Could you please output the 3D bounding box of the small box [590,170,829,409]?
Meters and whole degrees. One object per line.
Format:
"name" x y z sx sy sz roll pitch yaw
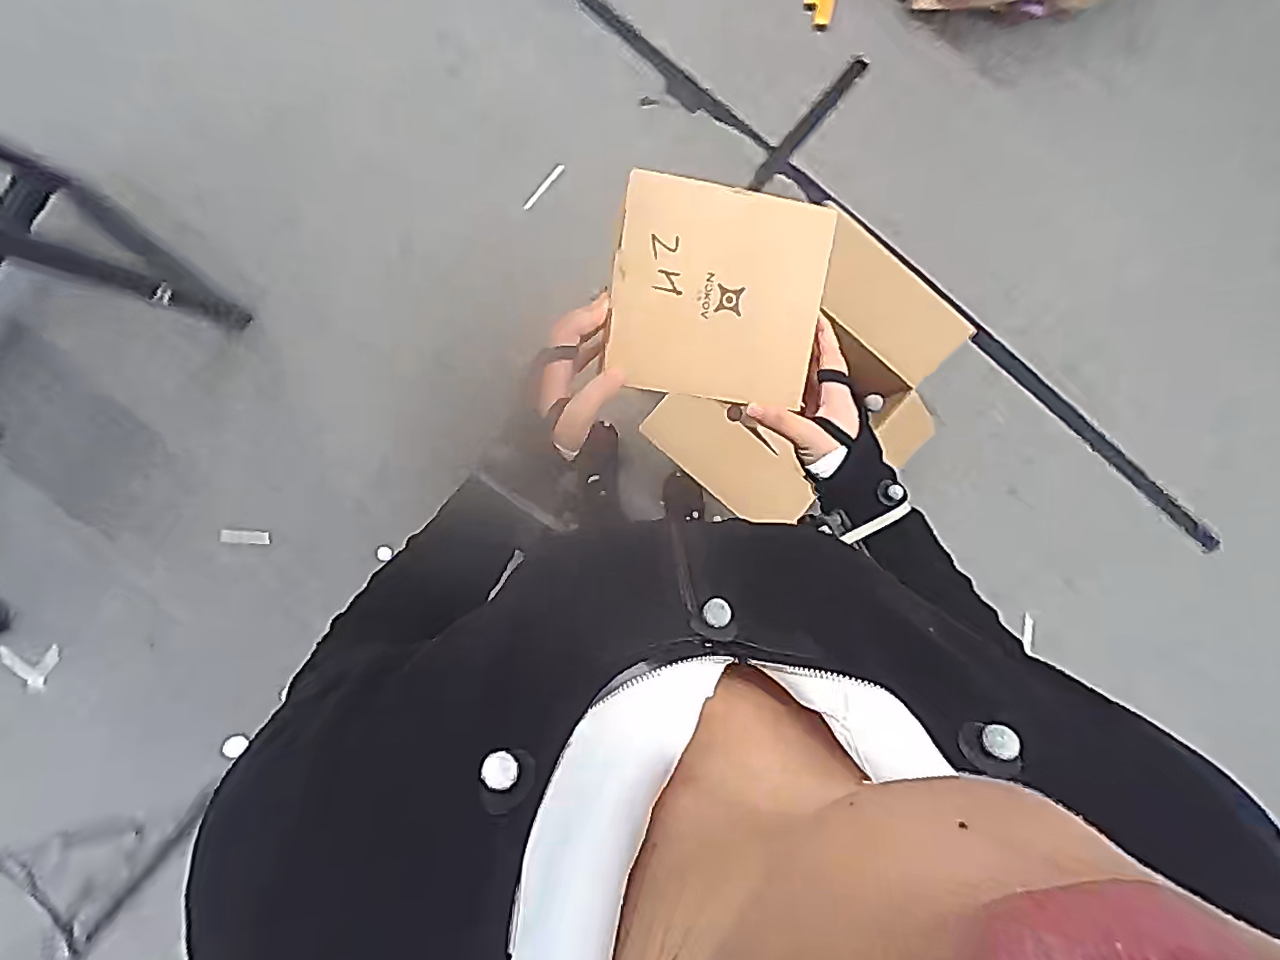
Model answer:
"small box" 0.049 -0.166 0.519 0.179 0.176 0.168 6 101 -8
